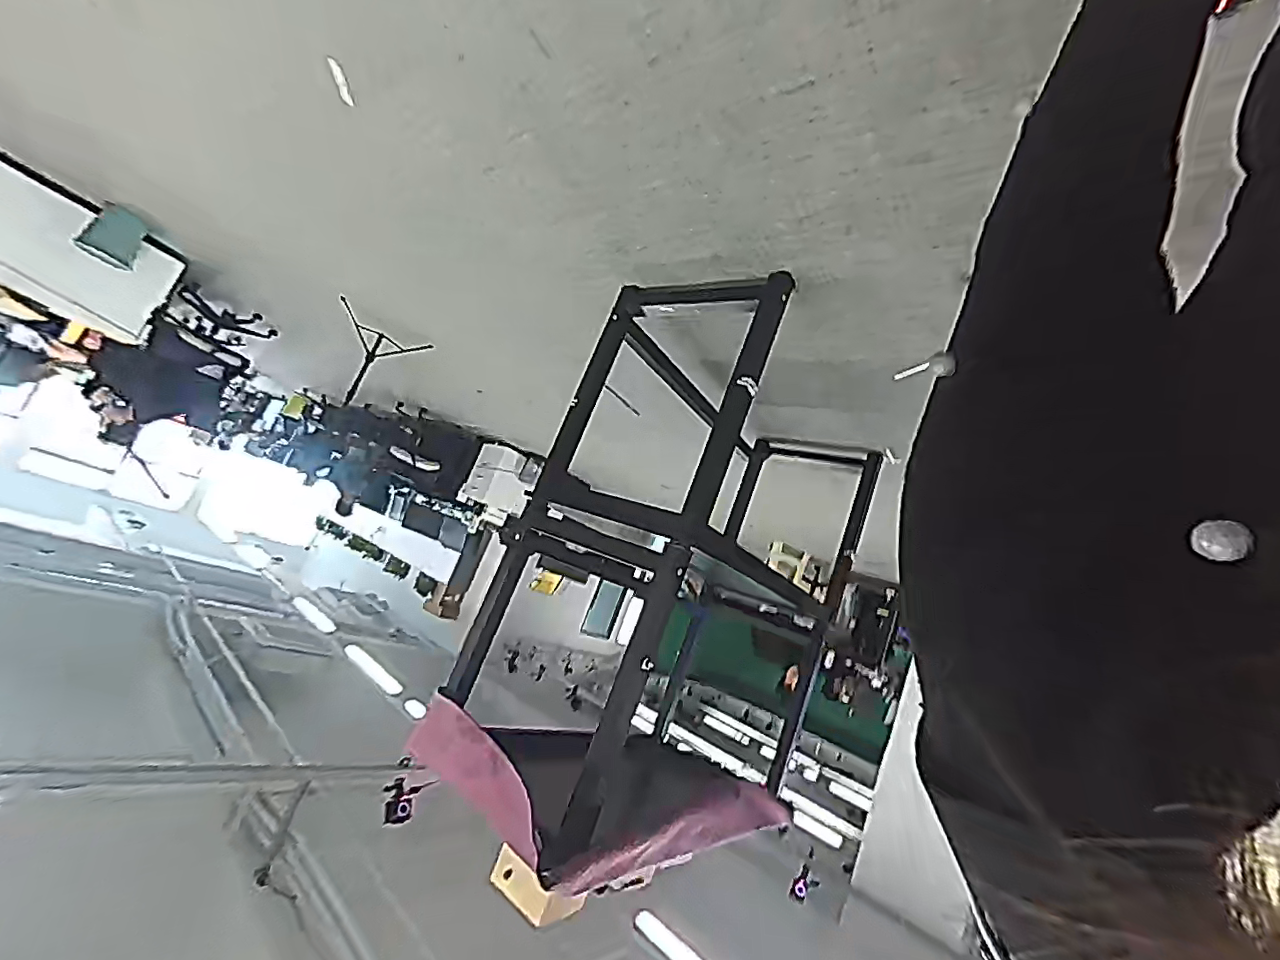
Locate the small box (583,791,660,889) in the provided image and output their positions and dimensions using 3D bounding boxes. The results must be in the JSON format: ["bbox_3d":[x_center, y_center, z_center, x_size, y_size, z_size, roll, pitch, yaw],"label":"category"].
[{"bbox_3d":[-0.063,1.037,1.574,0.179,0.176,0.168,12,166,45],"label":"small box"}]

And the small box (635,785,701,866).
[{"bbox_3d":[0.073,1.134,1.790,0.168,0.176,0.179,12,166,43],"label":"small box"}]

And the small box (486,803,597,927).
[{"bbox_3d":[-0.233,0.919,1.314,0.179,0.176,0.168,14,168,36],"label":"small box"}]
